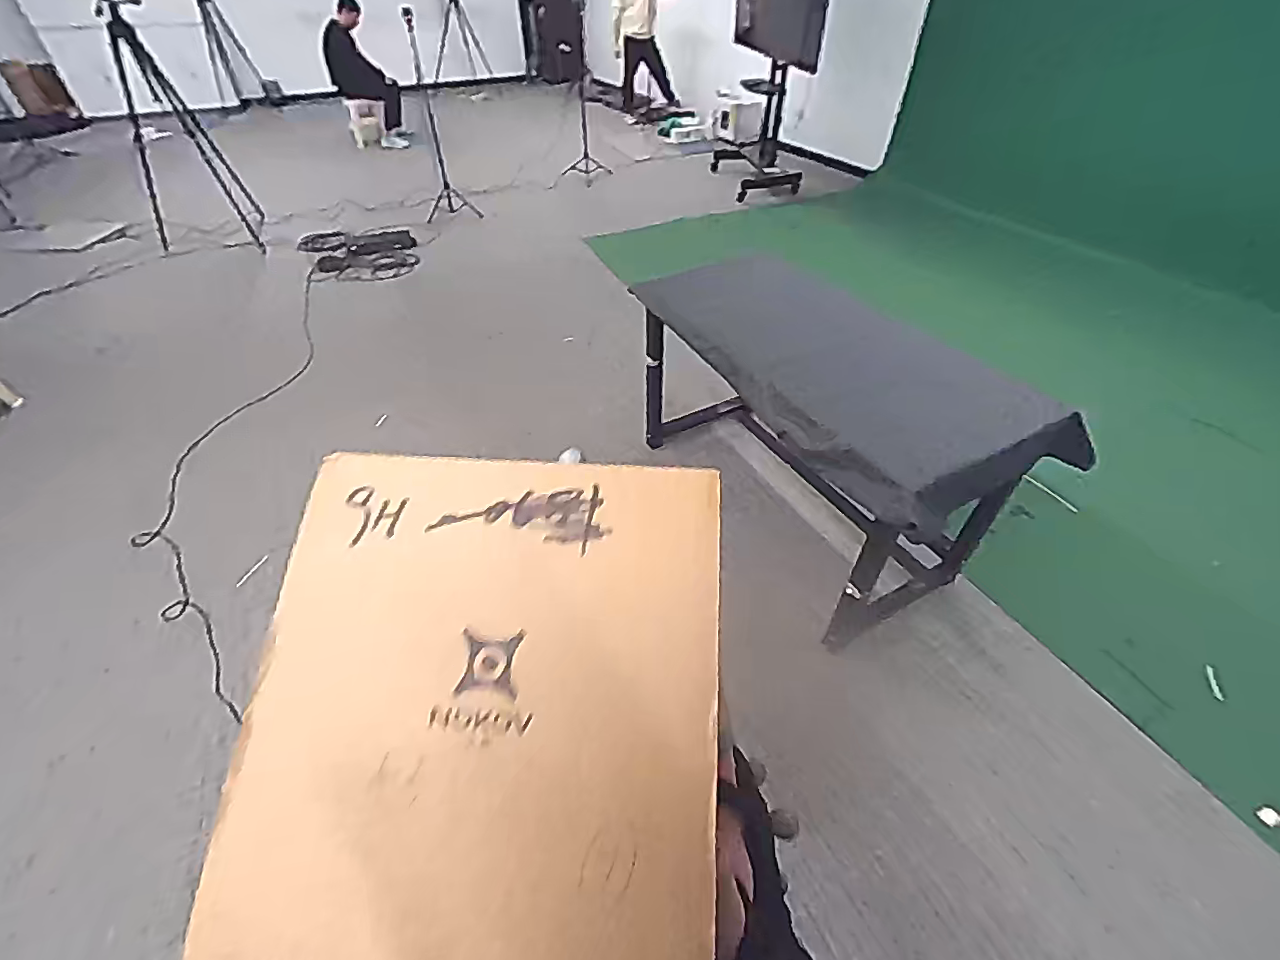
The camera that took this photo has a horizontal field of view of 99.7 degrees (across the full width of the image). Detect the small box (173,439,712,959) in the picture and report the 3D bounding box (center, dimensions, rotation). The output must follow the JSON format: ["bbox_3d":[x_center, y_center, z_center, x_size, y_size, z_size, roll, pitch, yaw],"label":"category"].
[{"bbox_3d":[-0.057,0.095,0.265,0.168,0.176,0.179,3,70,1],"label":"small box"}]
